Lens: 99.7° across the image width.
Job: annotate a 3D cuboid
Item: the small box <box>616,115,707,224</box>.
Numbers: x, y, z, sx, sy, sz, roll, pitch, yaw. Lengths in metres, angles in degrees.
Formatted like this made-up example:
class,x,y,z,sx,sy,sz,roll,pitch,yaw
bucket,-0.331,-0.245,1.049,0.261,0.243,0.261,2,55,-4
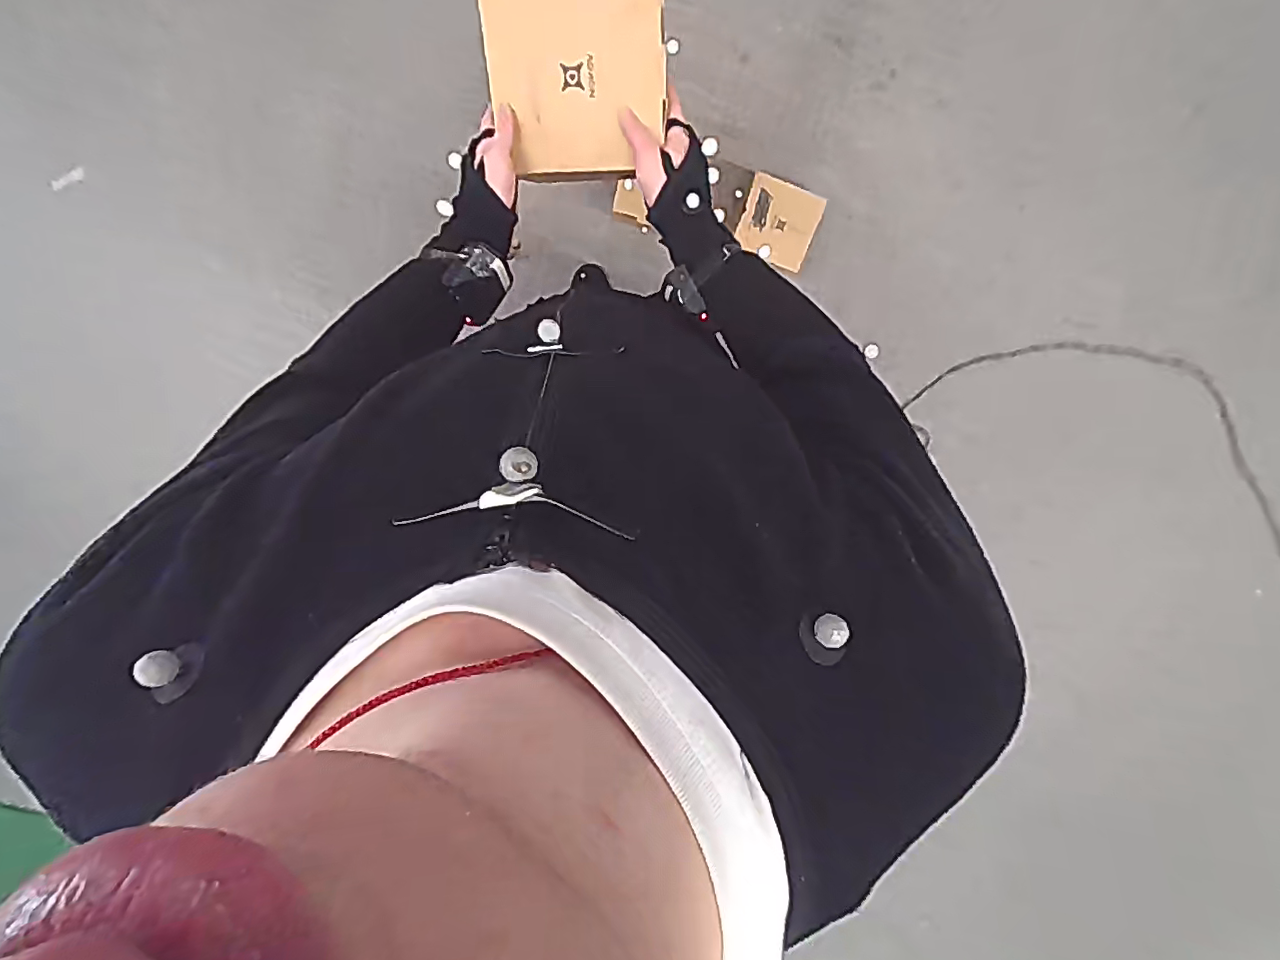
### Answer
class,x,y,z,sx,sy,sz,roll,pitch,yaw
small box,0.054,-0.716,1.267,0.179,0.176,0.168,-12,107,7

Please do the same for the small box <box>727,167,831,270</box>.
class,x,y,z,sx,sy,sz,roll,pitch,yaw
small box,0.323,-0.618,1.301,0.179,0.176,0.168,24,111,-5
